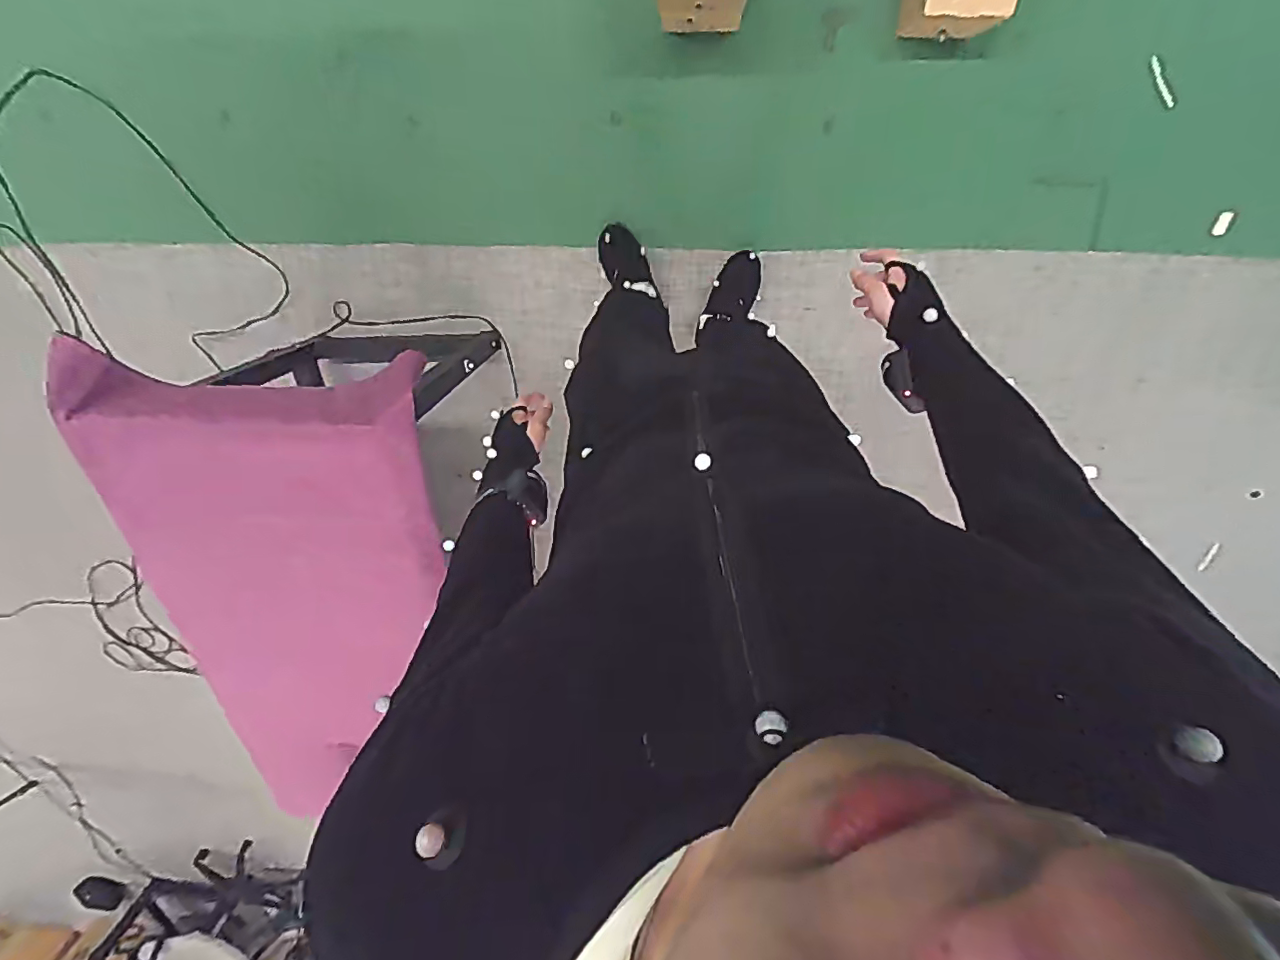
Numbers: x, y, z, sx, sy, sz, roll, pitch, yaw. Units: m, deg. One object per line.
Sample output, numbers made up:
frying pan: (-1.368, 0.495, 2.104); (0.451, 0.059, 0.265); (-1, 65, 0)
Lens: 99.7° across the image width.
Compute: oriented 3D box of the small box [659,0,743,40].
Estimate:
small box: (0.128, -1.018, 1.095); (0.168, 0.176, 0.179); (3, 117, 4)

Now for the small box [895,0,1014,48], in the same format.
small box: (0.629, -0.985, 1.066); (0.168, 0.176, 0.179); (4, 118, 3)
